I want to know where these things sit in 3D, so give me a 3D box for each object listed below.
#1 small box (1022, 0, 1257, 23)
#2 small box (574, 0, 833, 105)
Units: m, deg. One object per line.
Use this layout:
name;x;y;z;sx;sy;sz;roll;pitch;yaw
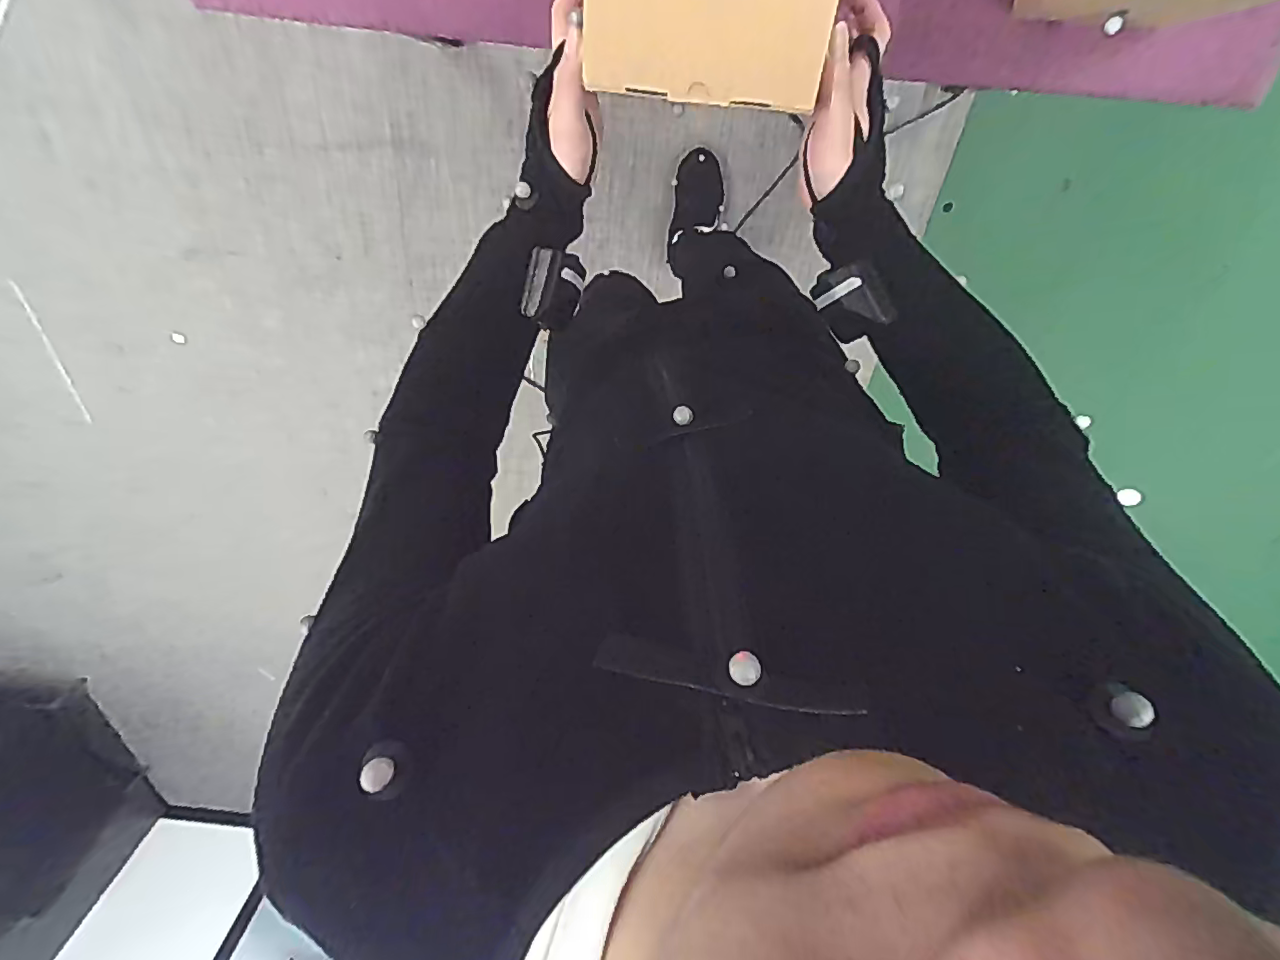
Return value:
small box;0.468;-0.515;0.453;0.168;0.176;0.179;6;123;3
small box;0.047;-0.383;0.385;0.168;0.176;0.179;6;126;-1
